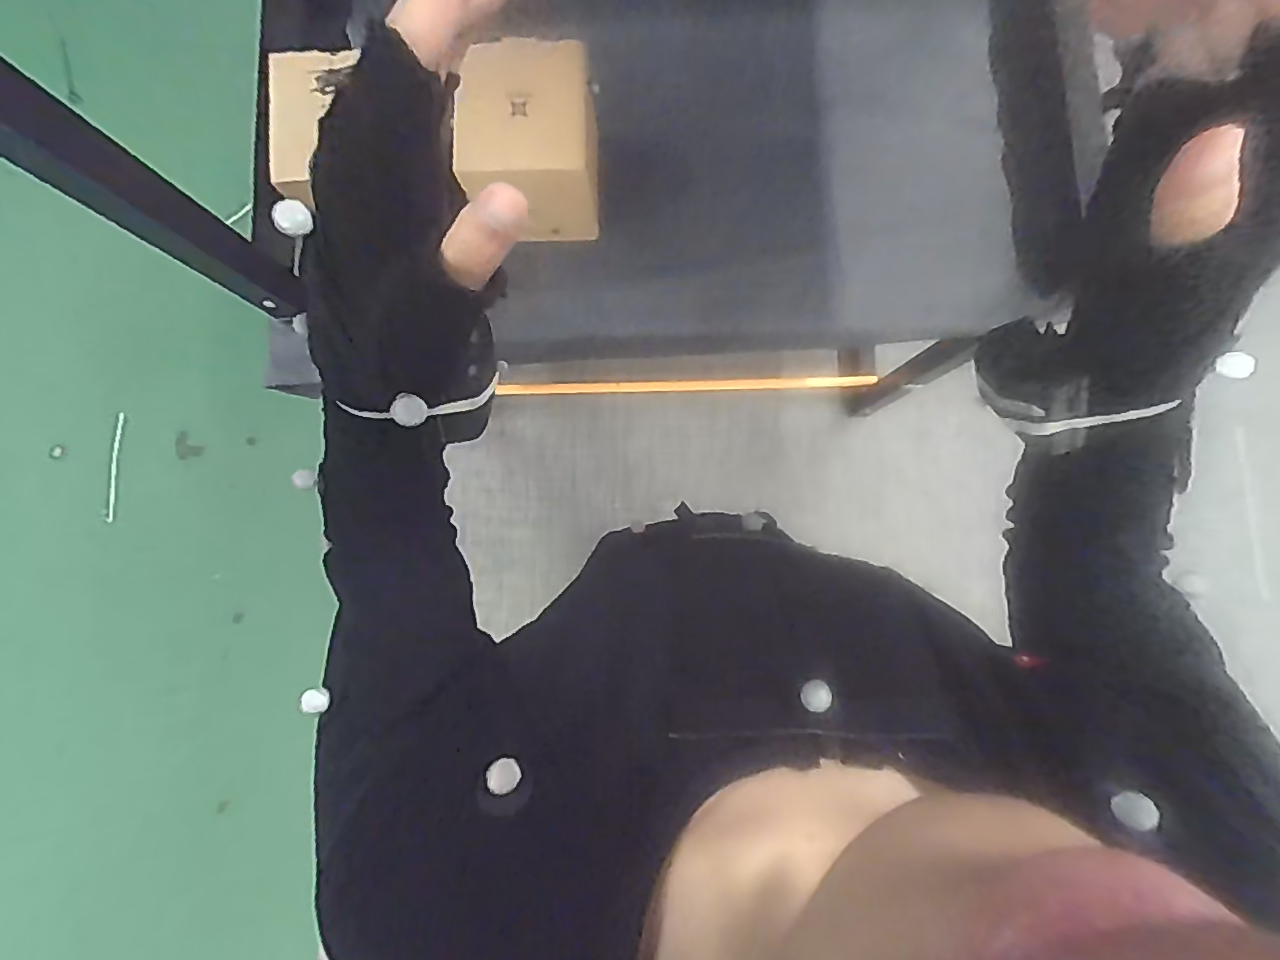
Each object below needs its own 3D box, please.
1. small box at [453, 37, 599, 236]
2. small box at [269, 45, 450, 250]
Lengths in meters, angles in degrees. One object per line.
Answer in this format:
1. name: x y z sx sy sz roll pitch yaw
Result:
1. small box: -0.146 -0.457 0.747 0.168 0.176 0.179 -1 83 1
2. small box: -0.373 -0.447 0.746 0.168 0.176 0.179 -4 84 1
